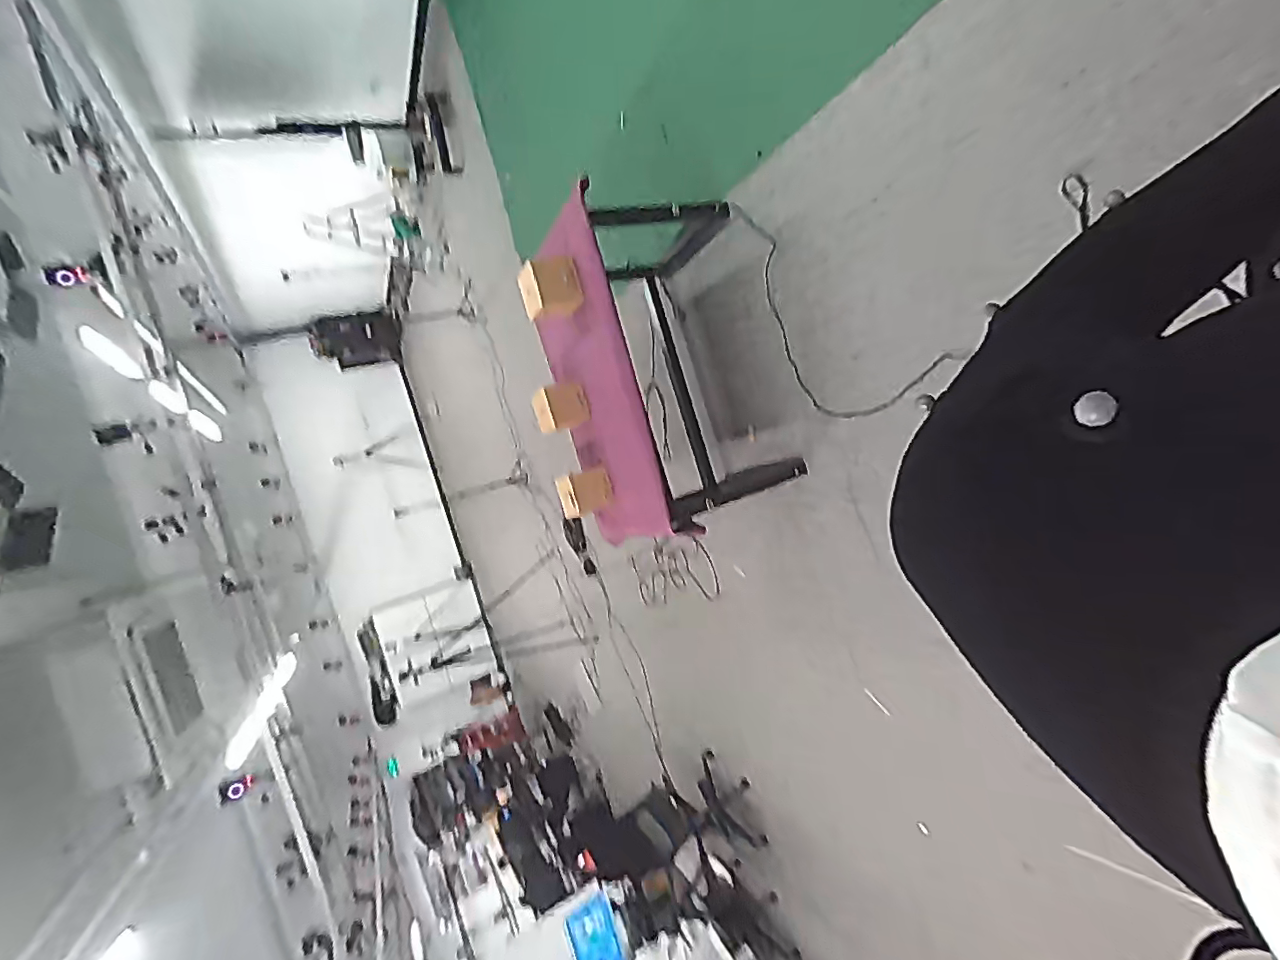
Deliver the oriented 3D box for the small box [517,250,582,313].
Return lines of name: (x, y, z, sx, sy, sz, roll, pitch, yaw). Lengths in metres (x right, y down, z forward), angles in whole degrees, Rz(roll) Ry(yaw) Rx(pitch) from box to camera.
small box: (-0.332, -0.727, 1.984, 0.179, 0.176, 0.168, -7, 101, 63)

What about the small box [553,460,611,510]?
small box: (-0.237, 0.020, 2.248, 0.179, 0.176, 0.168, -12, 94, 62)

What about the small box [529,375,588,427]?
small box: (-0.333, -0.325, 2.227, 0.179, 0.176, 0.168, -9, 98, 61)
